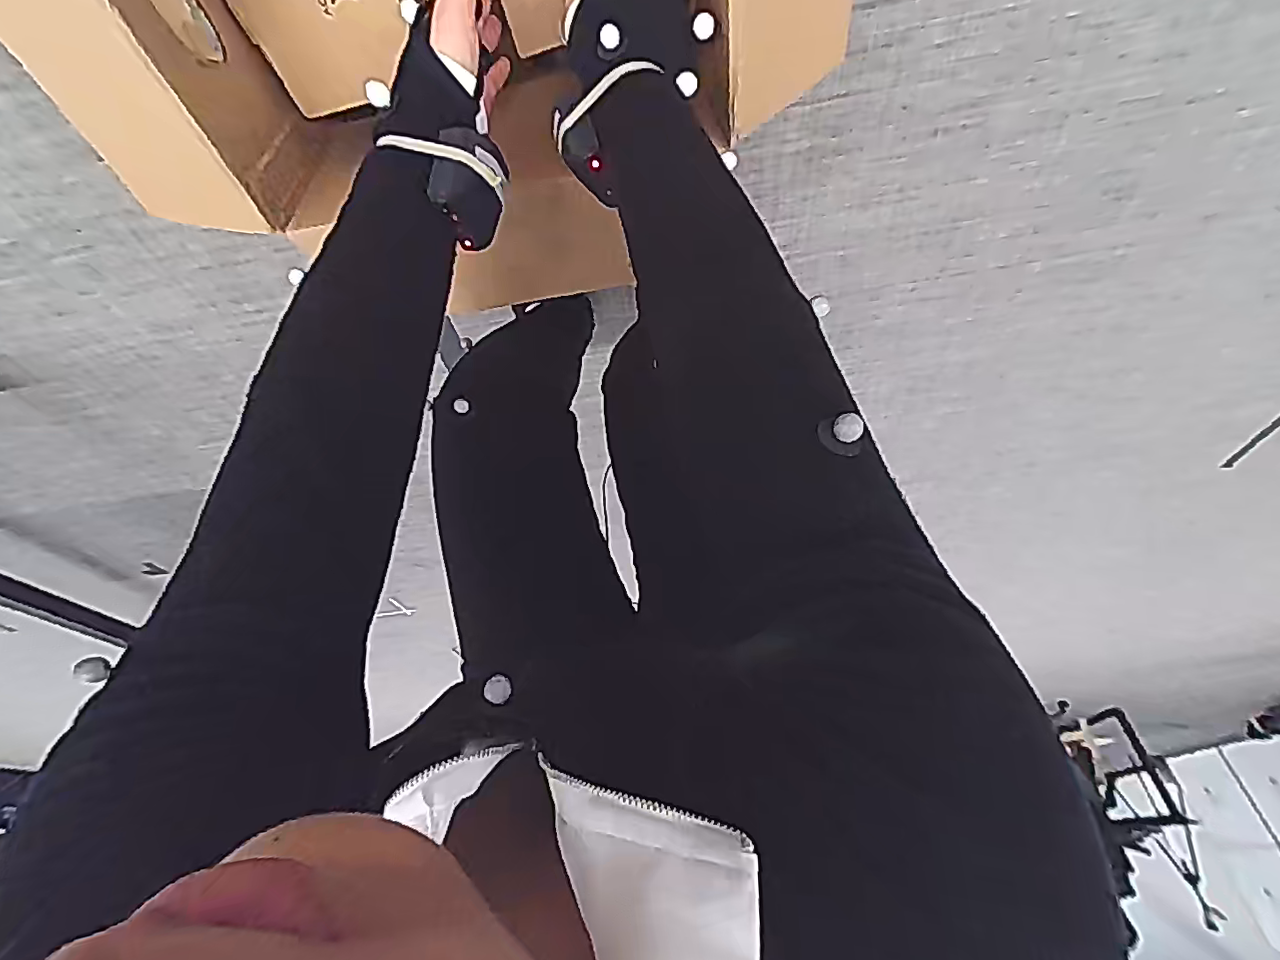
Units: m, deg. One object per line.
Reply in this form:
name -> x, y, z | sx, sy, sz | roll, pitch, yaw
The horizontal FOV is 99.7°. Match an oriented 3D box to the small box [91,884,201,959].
small box -> -1.175, 1.046, 1.255 | 0.179, 0.176, 0.168 | -7, 143, 6
